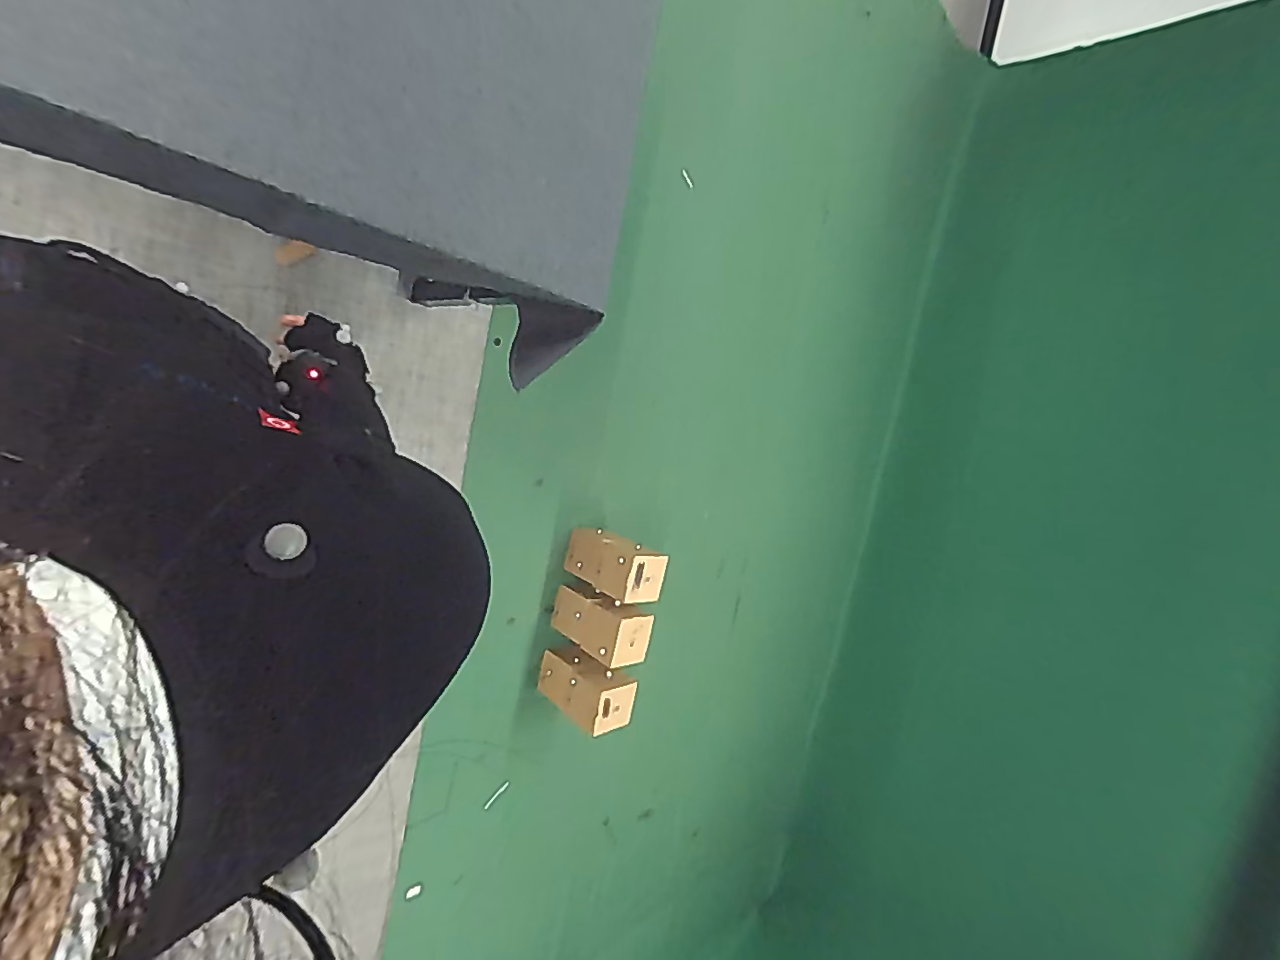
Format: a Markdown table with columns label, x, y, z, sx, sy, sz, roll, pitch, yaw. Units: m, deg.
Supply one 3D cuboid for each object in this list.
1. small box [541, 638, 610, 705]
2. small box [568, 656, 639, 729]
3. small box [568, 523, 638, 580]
| label | x | y | z | sx | sy | sz | roll | pitch | yaw |
| --- | --- | --- | --- | --- | --- | --- | --- | --- | --- |
| small box | -0.245 | 0.715 | 2.043 | 0.179 | 0.176 | 0.168 | 6 | 99 | -45 |
| small box | -0.134 | 0.751 | 1.928 | 0.179 | 0.176 | 0.168 | 5 | 100 | -45 |
| small box | -0.141 | 0.263 | 2.003 | 0.179 | 0.176 | 0.168 | 12 | 94 | -46 |
